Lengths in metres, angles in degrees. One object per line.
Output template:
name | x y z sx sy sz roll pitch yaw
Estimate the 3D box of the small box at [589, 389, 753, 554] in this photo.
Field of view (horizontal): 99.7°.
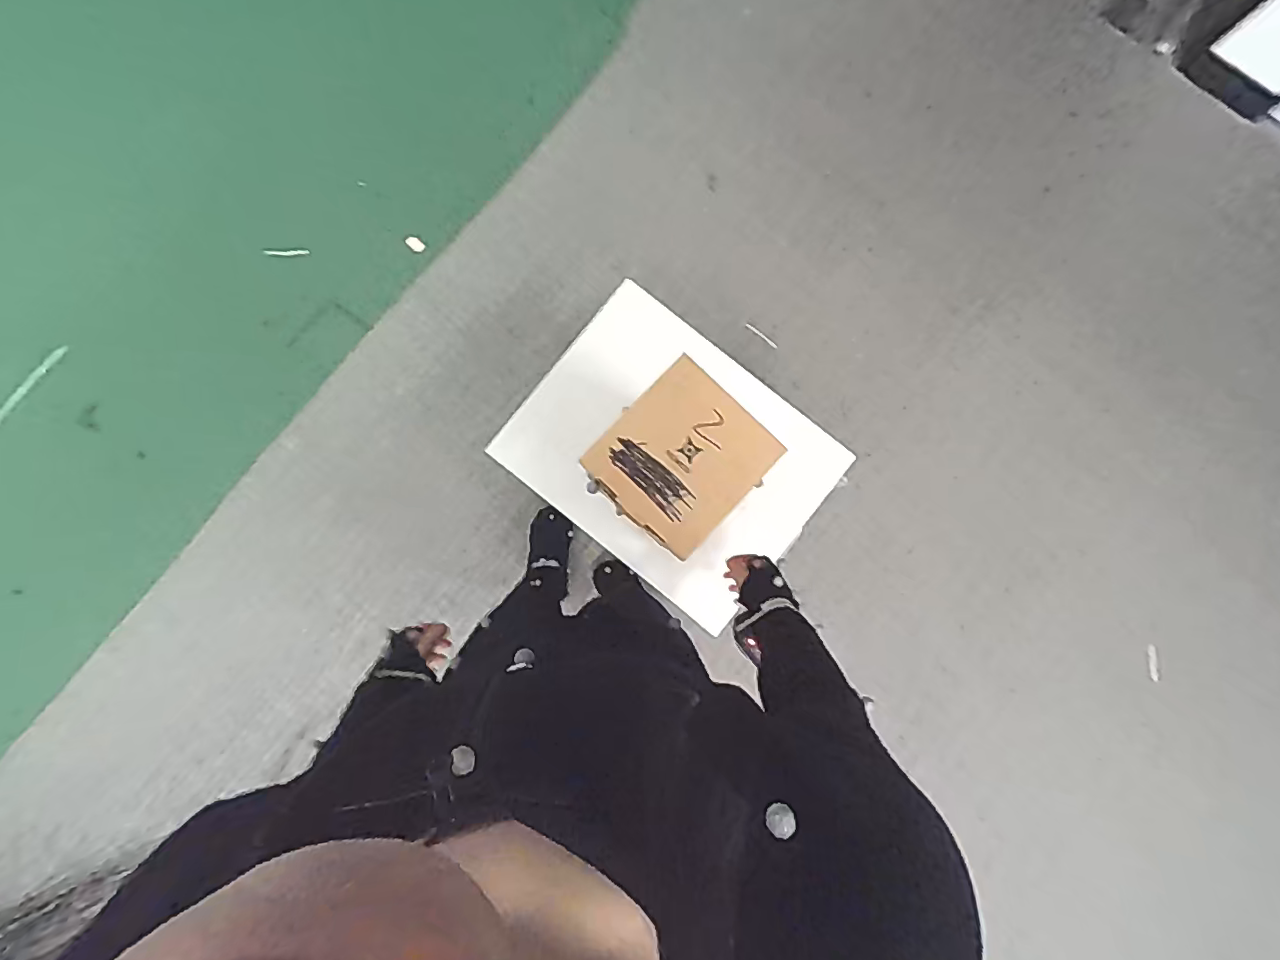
small box | 0.041 -0.006 0.830 0.168 0.176 0.179 41 85 4
